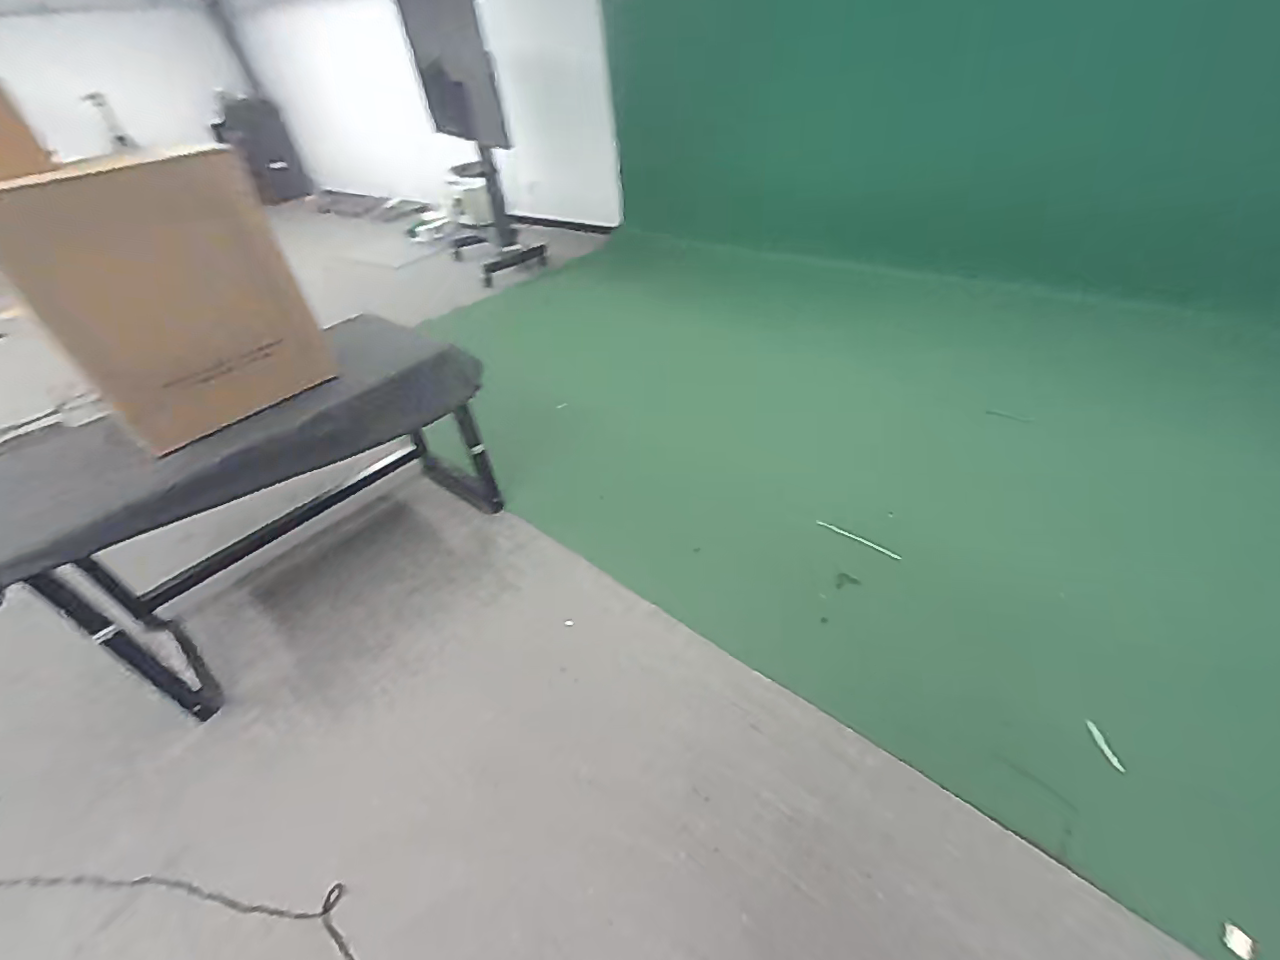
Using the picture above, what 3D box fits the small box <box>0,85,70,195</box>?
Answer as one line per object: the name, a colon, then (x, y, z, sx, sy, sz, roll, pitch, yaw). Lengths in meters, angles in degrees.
small box: (-1.362, -0.712, 1.133, 0.168, 0.176, 0.179, 23, 50, 30)
